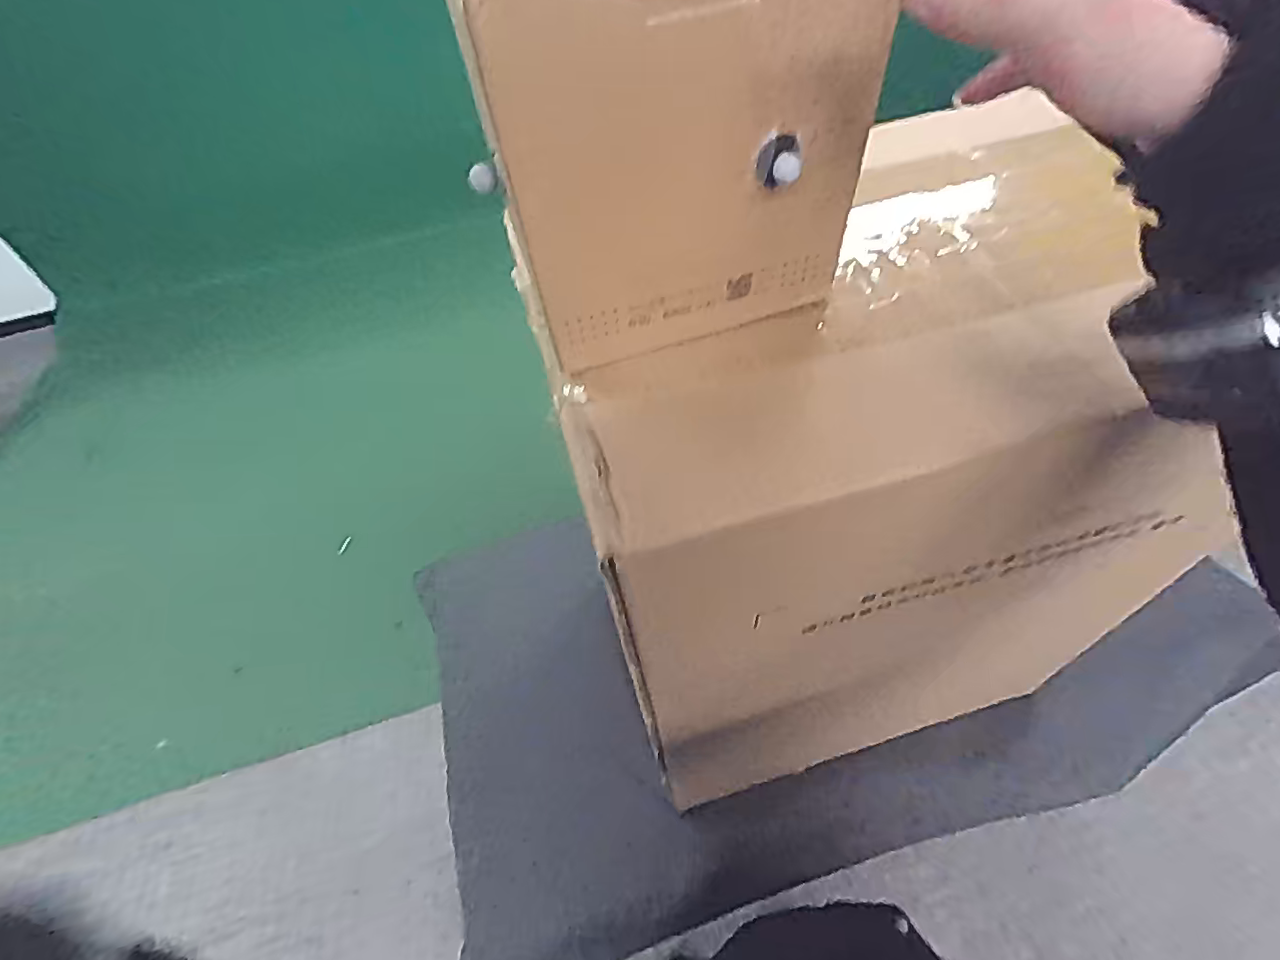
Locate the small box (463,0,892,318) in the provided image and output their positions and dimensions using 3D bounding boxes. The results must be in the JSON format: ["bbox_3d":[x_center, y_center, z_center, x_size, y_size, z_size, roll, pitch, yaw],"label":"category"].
[{"bbox_3d":[0.008,-0.205,0.284,0.168,0.176,0.179,-17,53,-9],"label":"small box"}]
